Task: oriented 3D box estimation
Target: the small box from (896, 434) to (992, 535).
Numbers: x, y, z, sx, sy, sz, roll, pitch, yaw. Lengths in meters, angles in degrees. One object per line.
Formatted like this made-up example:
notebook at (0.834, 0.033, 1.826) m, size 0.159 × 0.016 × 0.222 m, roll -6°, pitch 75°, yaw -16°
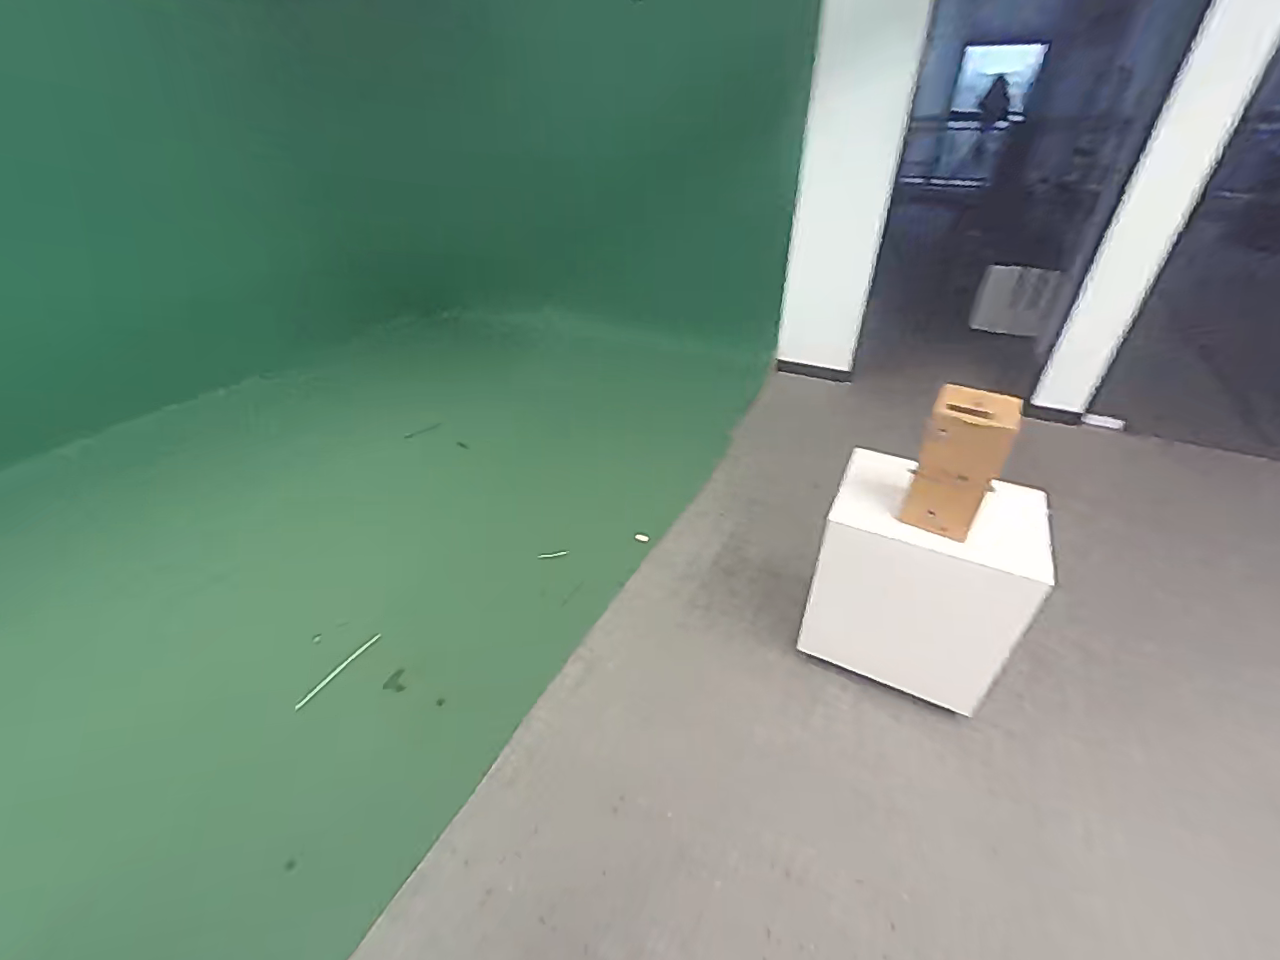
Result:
small box at (0.781, 0.011, 1.397) m, size 0.168 × 0.176 × 0.179 m, roll 21°, pitch 41°, yaw 27°
